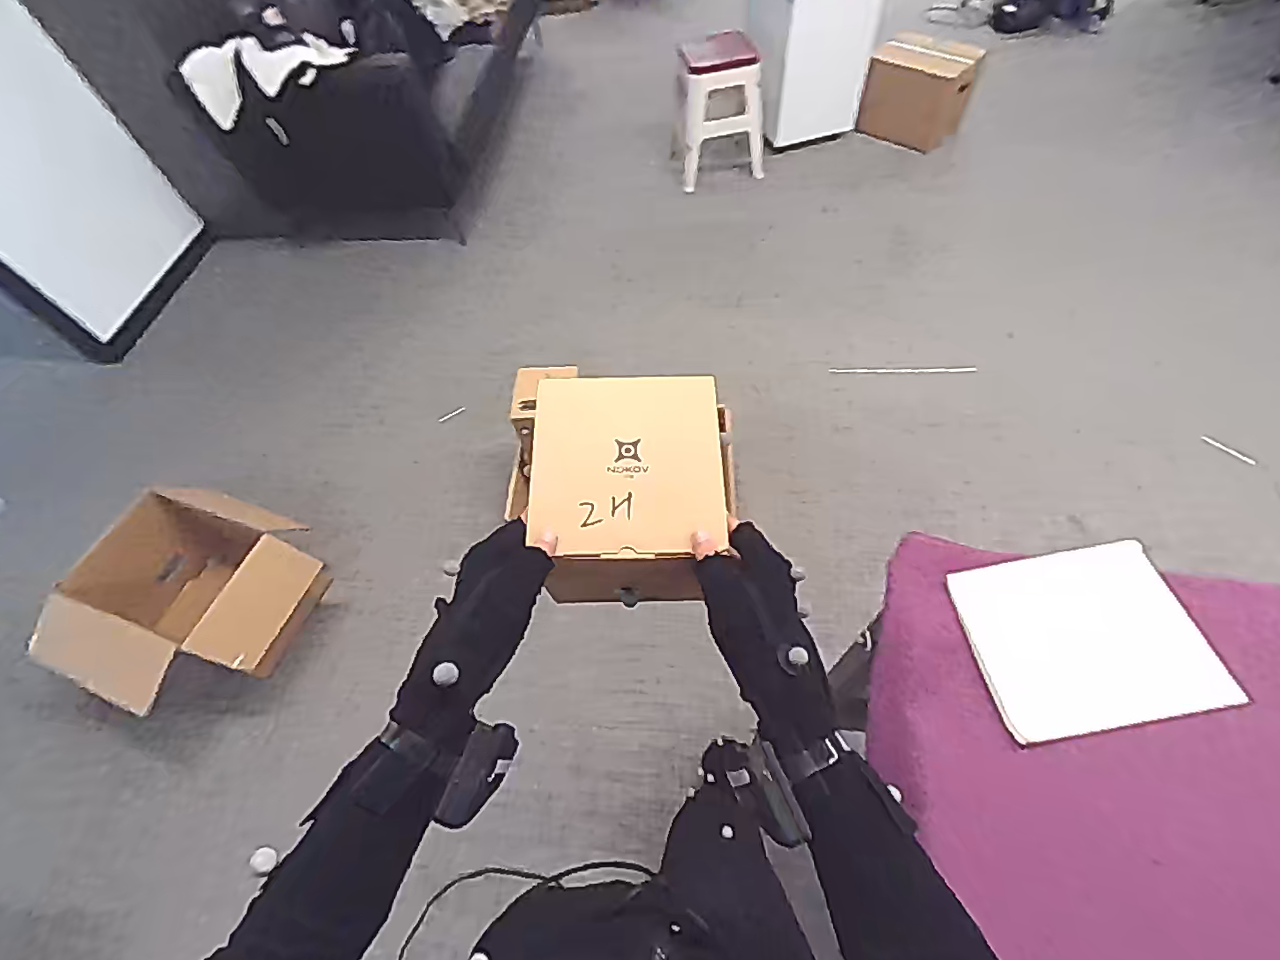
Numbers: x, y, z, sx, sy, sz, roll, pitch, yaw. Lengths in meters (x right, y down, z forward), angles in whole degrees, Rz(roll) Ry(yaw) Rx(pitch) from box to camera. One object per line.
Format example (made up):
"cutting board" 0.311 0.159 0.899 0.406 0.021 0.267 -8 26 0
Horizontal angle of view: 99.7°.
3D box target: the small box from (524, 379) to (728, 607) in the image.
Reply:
"small box" -0.012 0.019 0.536 0.168 0.176 0.179 -1 65 0
